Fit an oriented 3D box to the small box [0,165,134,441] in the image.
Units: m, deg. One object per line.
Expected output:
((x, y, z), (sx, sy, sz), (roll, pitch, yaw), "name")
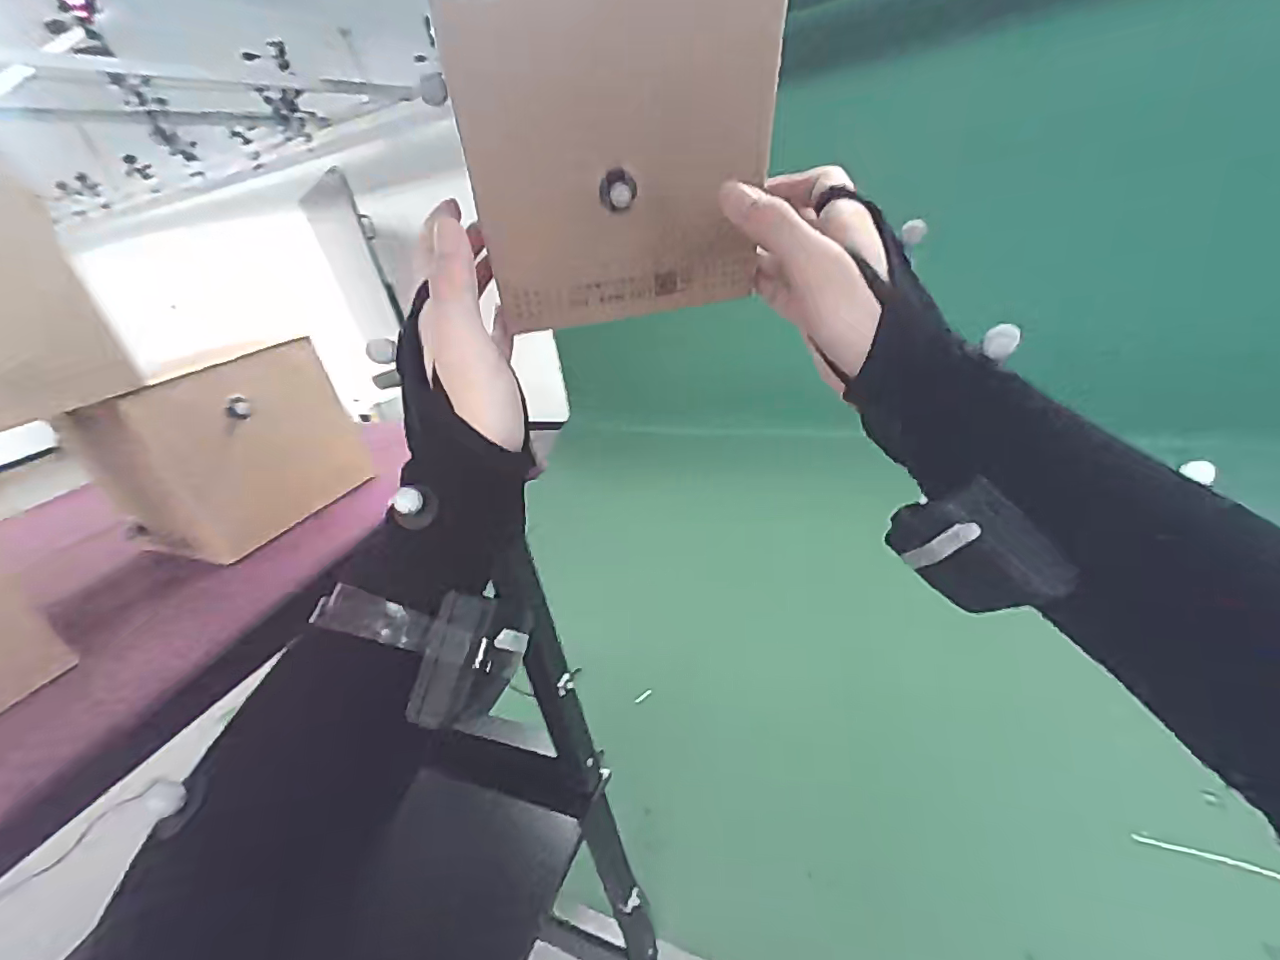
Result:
((-0.511, -0.105, 0.373), (0.168, 0.176, 0.179), (3, 30, 27), "small box")

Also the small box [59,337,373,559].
((-0.424, -0.036, 0.564), (0.168, 0.176, 0.179), (3, 30, 25), "small box")
